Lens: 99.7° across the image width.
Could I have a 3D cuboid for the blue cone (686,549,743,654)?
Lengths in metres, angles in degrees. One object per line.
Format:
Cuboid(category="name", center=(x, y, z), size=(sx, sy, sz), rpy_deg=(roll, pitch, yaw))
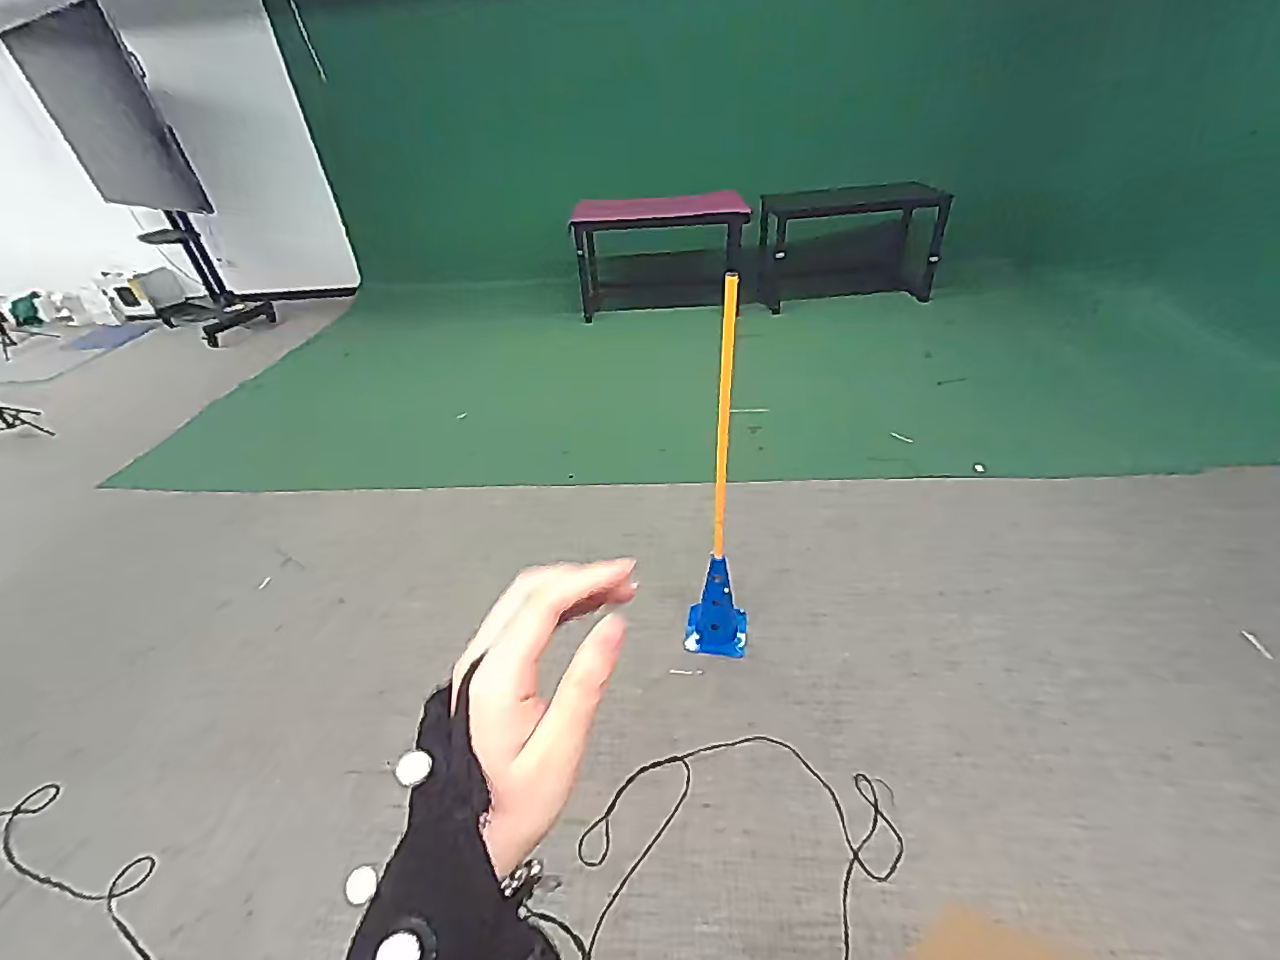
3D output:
Cuboid(category="blue cone", center=(0.249, 0.381, 1.764), size=(0.193, 0.380, 0.192), rpy_deg=(5, 37, 12))
